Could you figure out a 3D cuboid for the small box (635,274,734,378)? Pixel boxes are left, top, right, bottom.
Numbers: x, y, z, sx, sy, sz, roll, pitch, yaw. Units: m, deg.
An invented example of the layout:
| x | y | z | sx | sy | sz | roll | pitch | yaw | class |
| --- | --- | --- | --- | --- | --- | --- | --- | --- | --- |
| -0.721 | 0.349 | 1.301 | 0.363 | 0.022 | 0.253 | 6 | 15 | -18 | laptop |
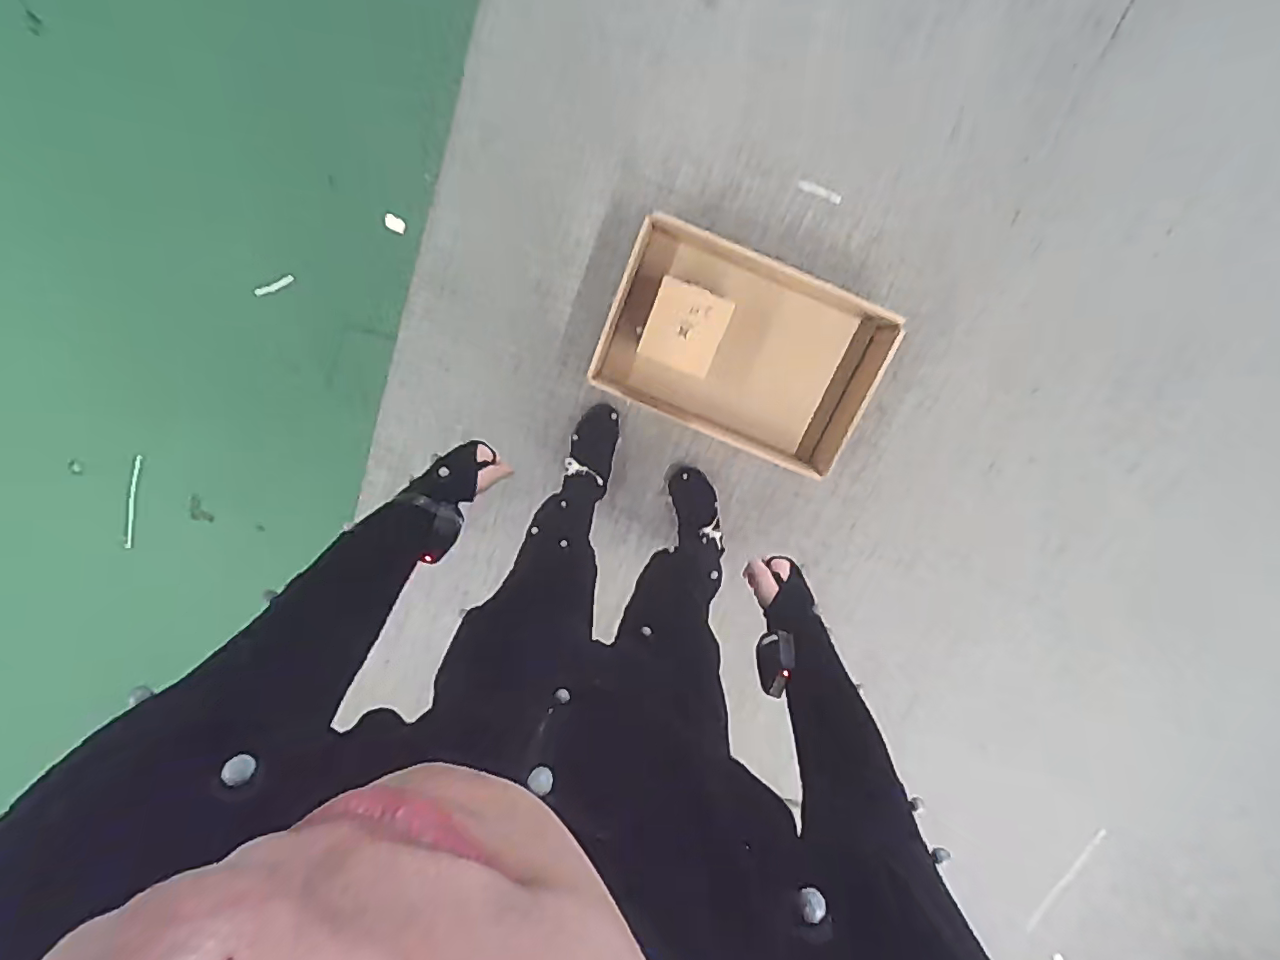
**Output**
| x | y | z | sx | sy | sz | roll | pitch | yaw | class |
| --- | --- | --- | --- | --- | --- | --- | --- | --- | --- |
| 0.100 | -0.352 | 1.244 | 0.168 | 0.176 | 0.179 | 21 | 106 | -4 | small box |
